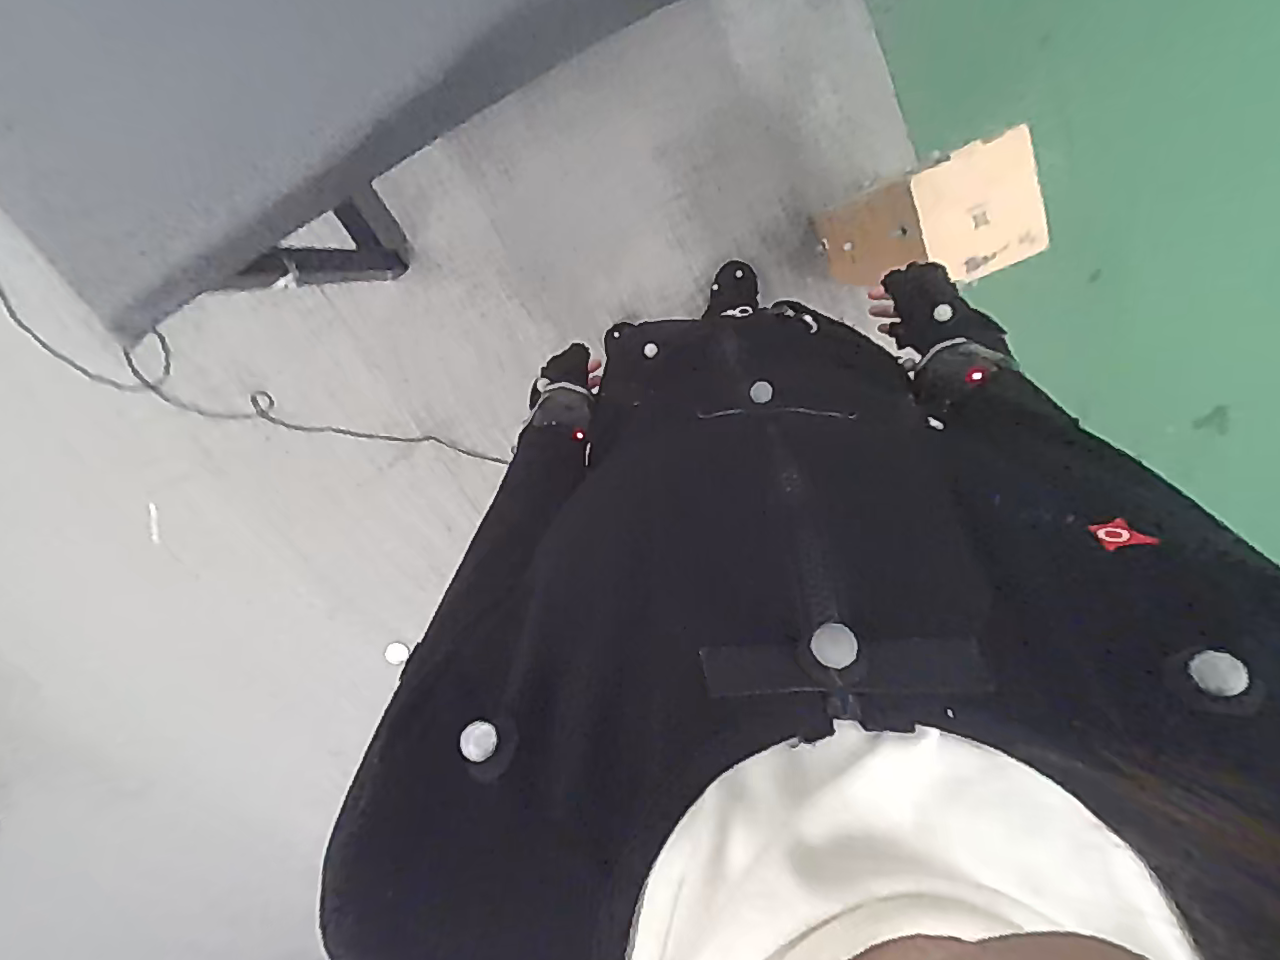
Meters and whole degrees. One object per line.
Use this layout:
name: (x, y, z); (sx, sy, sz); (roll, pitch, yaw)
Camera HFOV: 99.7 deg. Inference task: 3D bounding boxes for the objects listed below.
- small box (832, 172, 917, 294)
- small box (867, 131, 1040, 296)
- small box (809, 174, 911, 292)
small box: (0.485, -0.465, 1.009); (0.179, 0.176, 0.168); (-22, 108, 11)
small box: (0.484, -0.405, 0.857); (0.168, 0.176, 0.179); (-21, 107, 11)
small box: (0.488, -0.524, 1.163); (0.179, 0.176, 0.168); (-23, 108, 12)
